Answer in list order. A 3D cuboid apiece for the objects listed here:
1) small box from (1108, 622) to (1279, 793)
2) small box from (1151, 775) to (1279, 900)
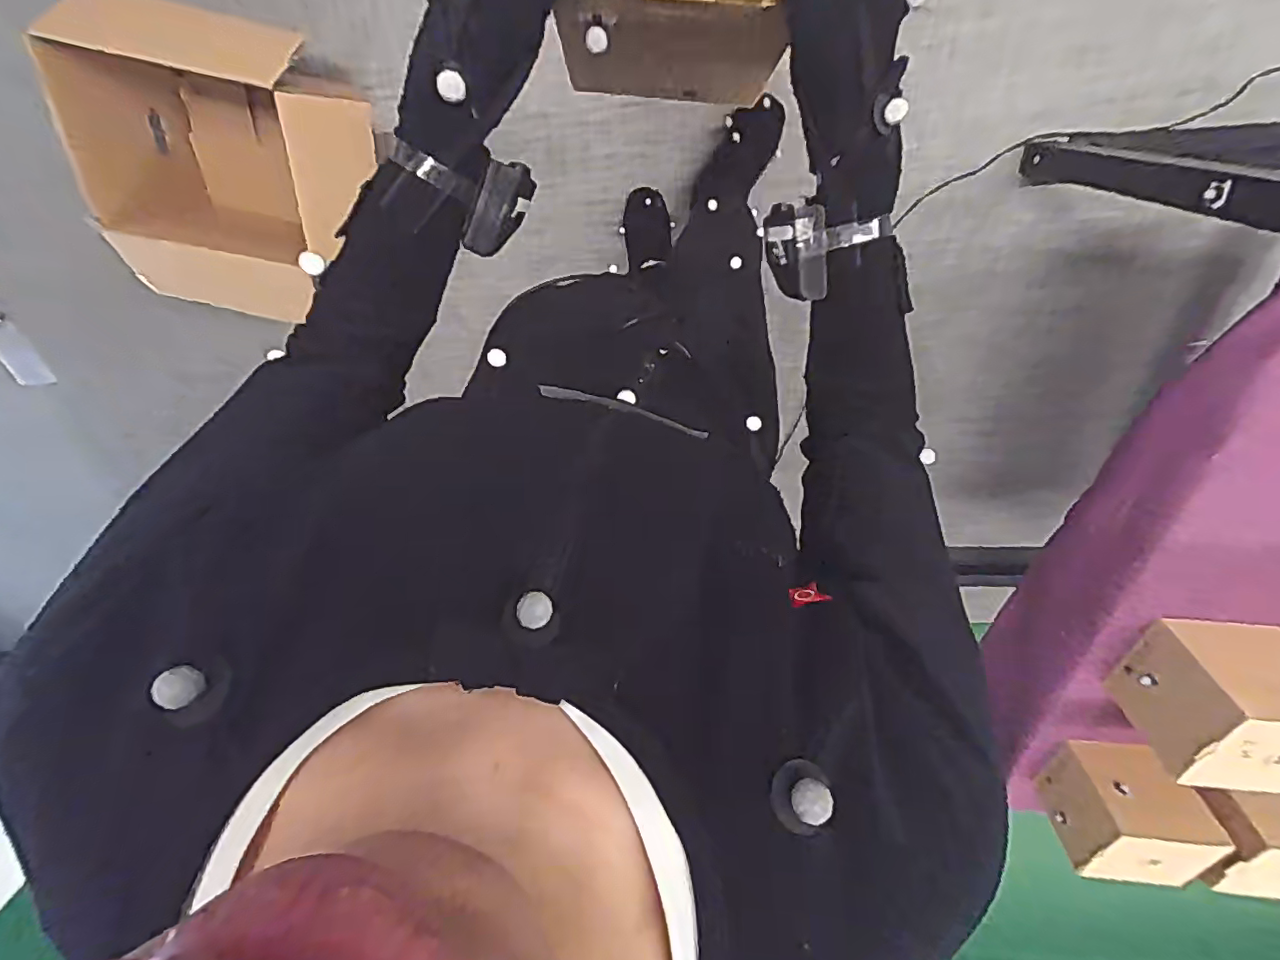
[{"bbox_3d":[0.857,0.326,0.787,0.179,0.176,0.168,4,125,4],"label":"small box"},{"bbox_3d":[1.083,0.608,0.957,0.179,0.176,0.168,6,126,4],"label":"small box"}]
